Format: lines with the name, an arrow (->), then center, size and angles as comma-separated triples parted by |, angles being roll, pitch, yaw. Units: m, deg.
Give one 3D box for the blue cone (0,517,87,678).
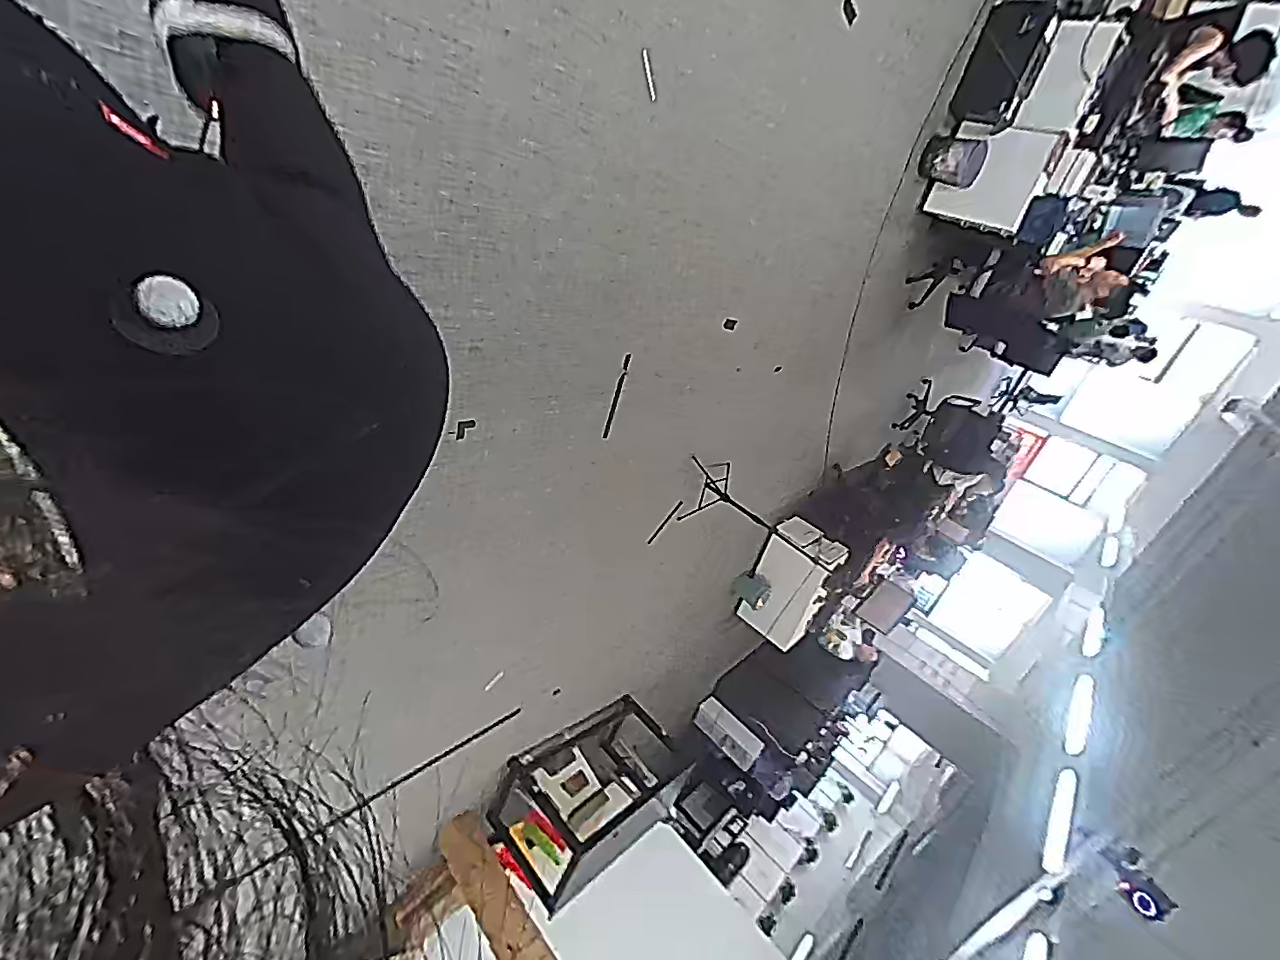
blue cone -> -1.217, 0.249, 1.071 | 0.193, 0.380, 0.192 | -17, 132, -46
